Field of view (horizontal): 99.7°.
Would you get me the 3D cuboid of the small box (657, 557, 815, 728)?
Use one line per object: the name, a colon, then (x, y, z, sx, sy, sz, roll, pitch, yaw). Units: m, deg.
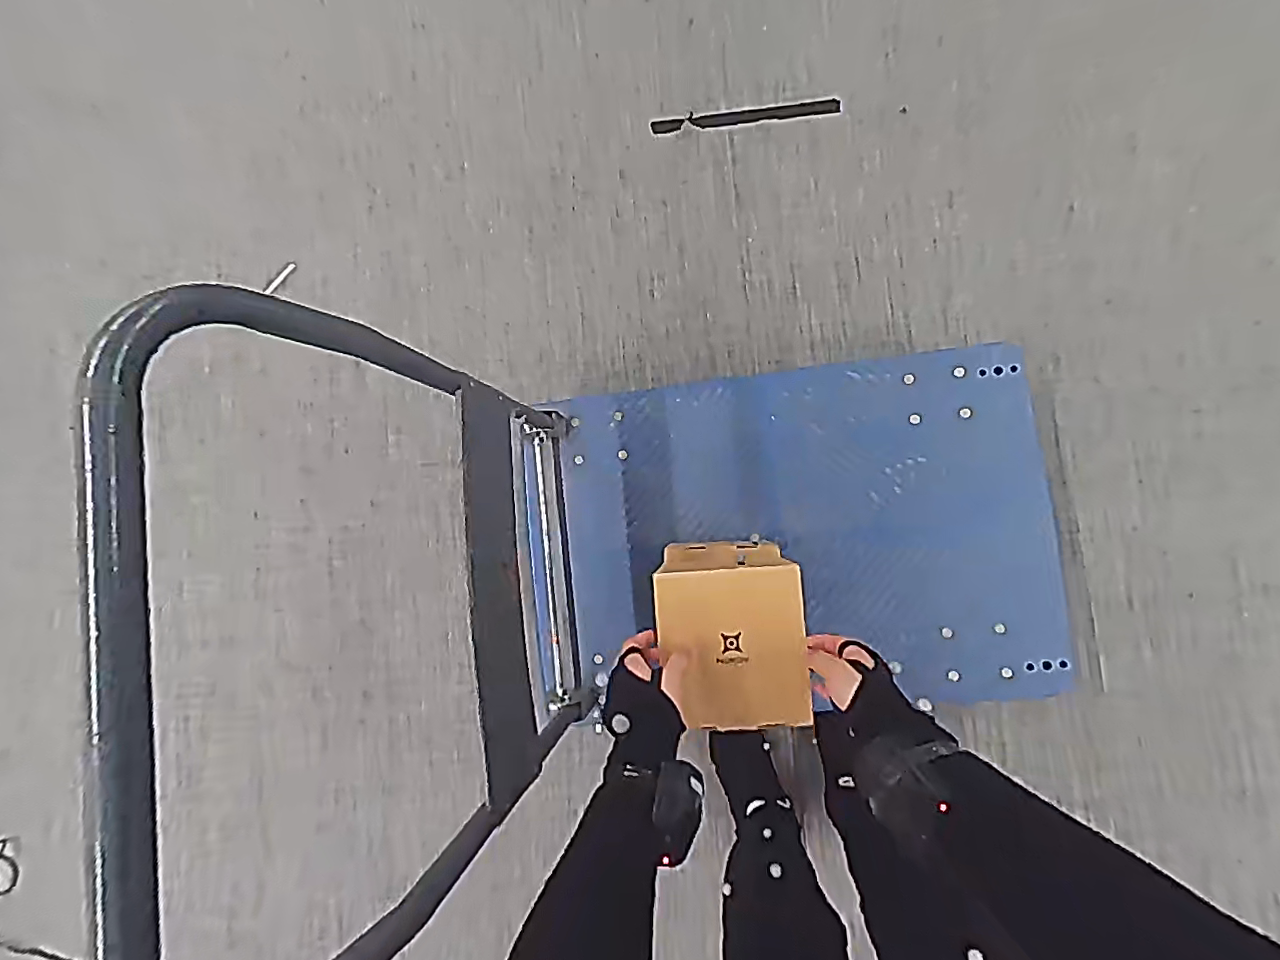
small box: (0.111, 0.188, 0.675, 0.168, 0.176, 0.179, -4, 86, 6)
